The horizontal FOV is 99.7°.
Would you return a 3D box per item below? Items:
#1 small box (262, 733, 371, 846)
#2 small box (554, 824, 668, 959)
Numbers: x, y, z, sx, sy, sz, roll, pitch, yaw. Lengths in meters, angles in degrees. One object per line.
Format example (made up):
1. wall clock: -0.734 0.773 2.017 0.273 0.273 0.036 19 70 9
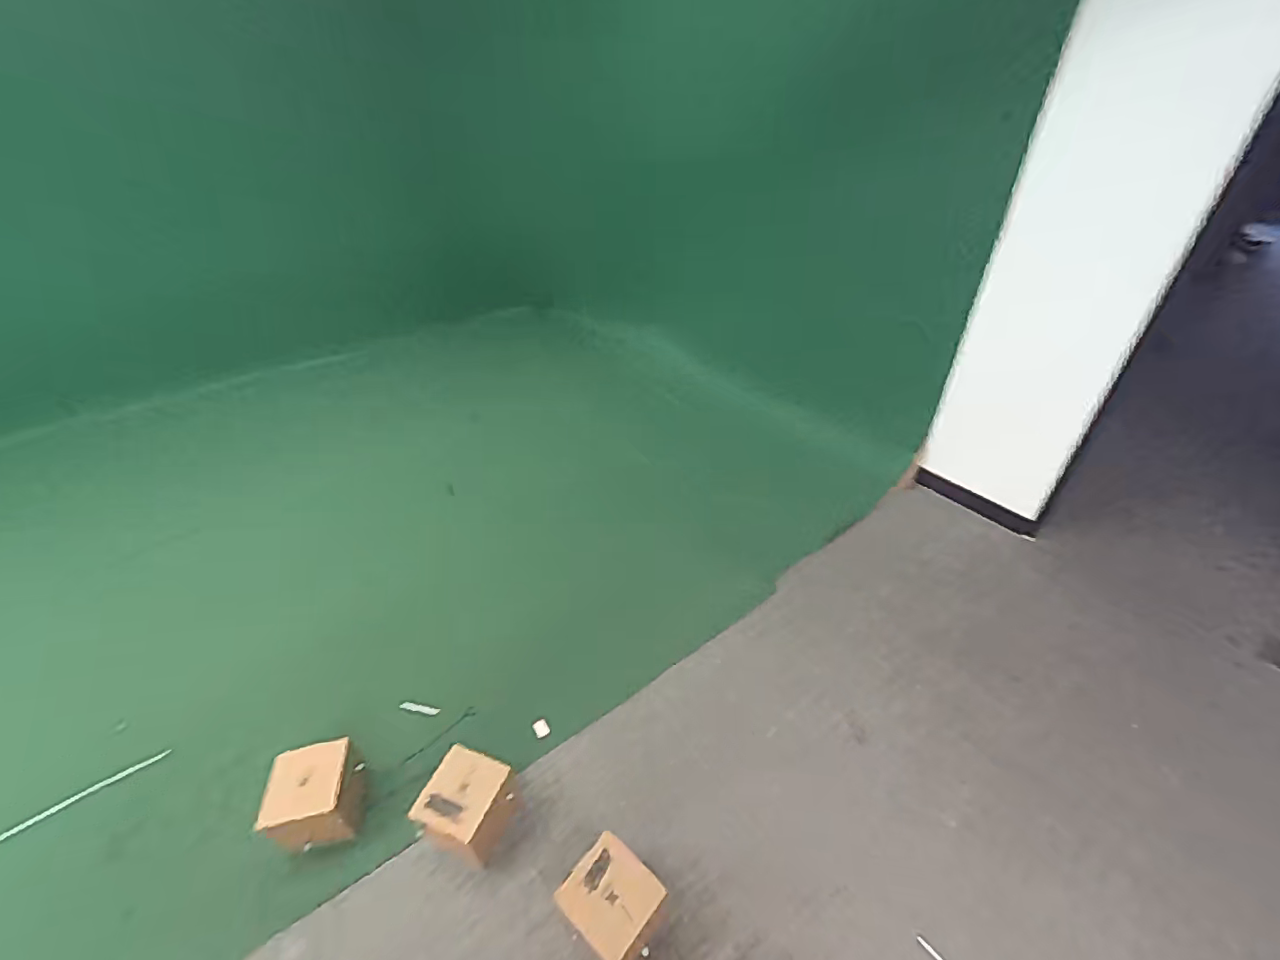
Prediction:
1. small box: -0.789 0.768 1.344 0.168 0.176 0.179 -9 38 -8
2. small box: -0.058 0.892 1.147 0.179 0.176 0.168 28 47 32
